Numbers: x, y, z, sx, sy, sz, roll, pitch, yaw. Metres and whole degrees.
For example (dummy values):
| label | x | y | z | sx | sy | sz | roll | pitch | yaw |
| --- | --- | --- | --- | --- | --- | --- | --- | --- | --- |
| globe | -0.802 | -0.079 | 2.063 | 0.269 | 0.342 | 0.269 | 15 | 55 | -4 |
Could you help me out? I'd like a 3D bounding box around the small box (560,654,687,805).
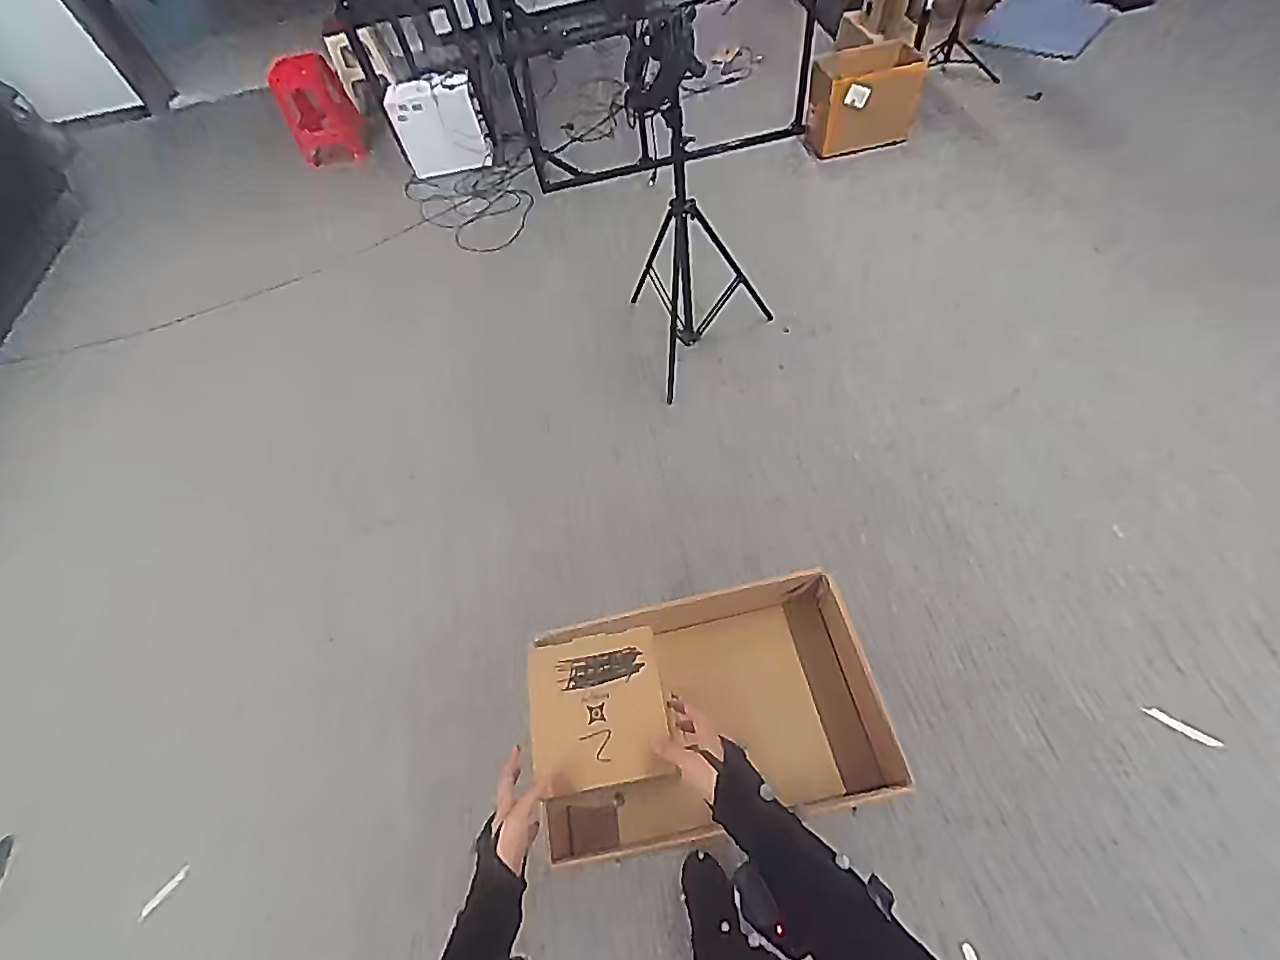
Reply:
| label | x | y | z | sx | sy | sz | roll | pitch | yaw |
| --- | --- | --- | --- | --- | --- | --- | --- | --- | --- |
| small box | -0.024 | 0.401 | 0.864 | 0.168 | 0.176 | 0.179 | -13 | 56 | 1 |
